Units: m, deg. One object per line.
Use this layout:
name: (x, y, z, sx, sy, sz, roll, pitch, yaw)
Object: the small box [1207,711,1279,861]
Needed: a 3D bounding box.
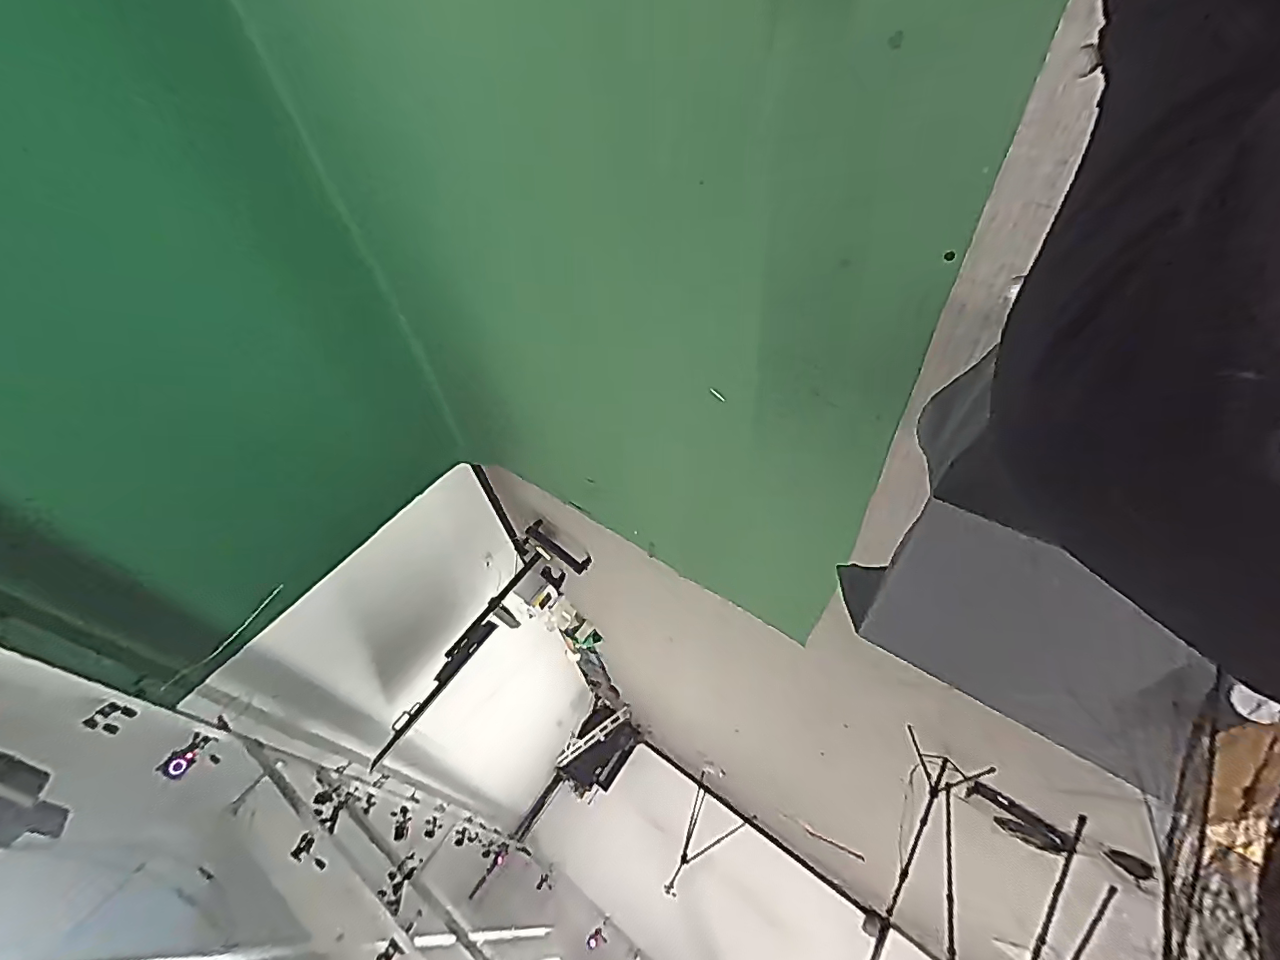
small box: (1.005, 0.469, 0.800, 0.168, 0.176, 0.179, 27, 150, 26)
